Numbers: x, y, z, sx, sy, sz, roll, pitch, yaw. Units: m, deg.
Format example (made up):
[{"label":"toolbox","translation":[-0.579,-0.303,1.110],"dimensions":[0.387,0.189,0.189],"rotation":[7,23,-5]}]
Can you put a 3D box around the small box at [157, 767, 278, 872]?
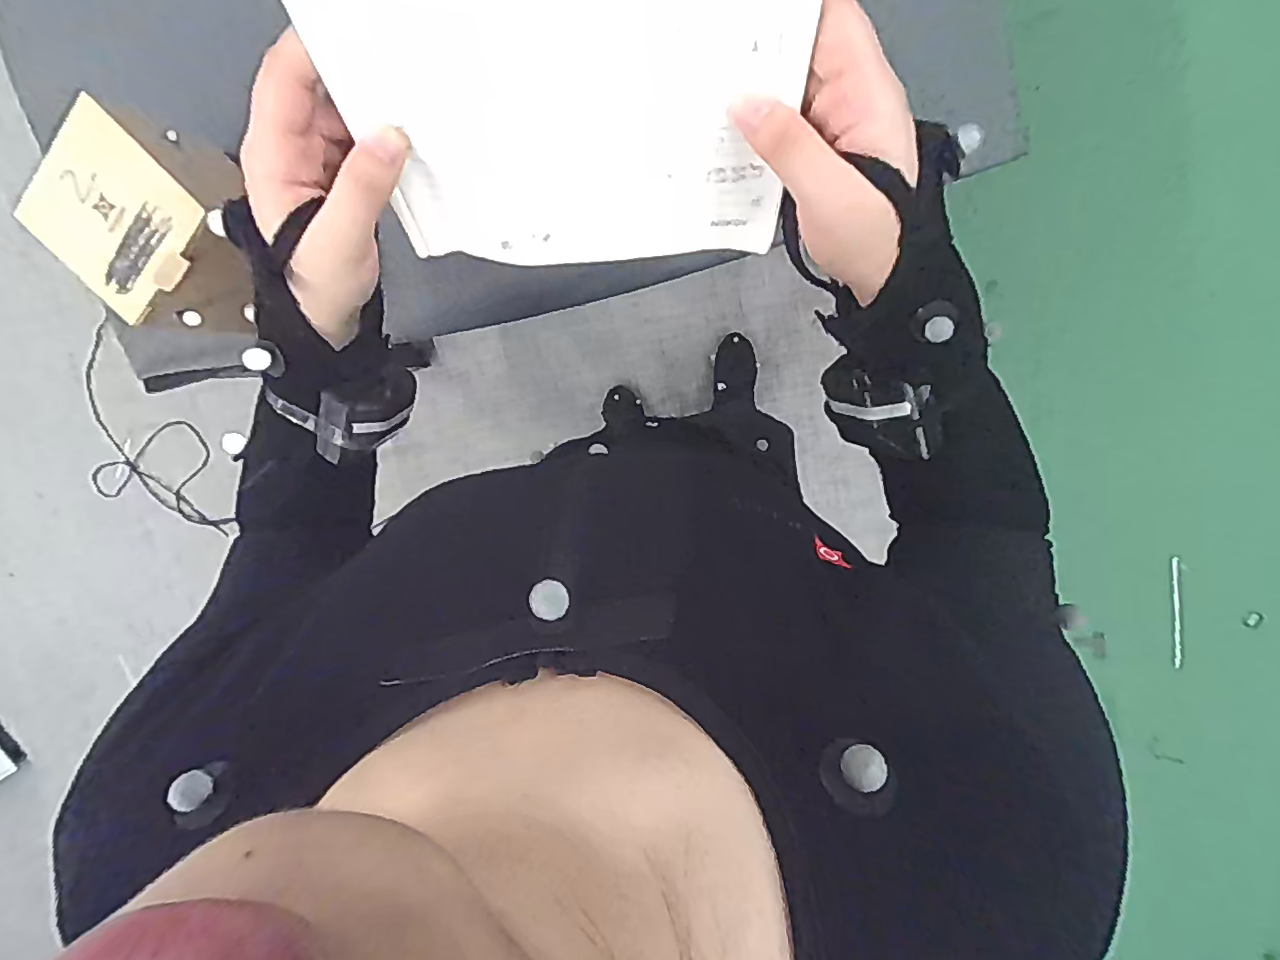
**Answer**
[{"label":"small box","translation":[-1.117,0.909,1.429],"dimensions":[0.168,0.176,0.179],"rotation":[-30,97,11]}]
